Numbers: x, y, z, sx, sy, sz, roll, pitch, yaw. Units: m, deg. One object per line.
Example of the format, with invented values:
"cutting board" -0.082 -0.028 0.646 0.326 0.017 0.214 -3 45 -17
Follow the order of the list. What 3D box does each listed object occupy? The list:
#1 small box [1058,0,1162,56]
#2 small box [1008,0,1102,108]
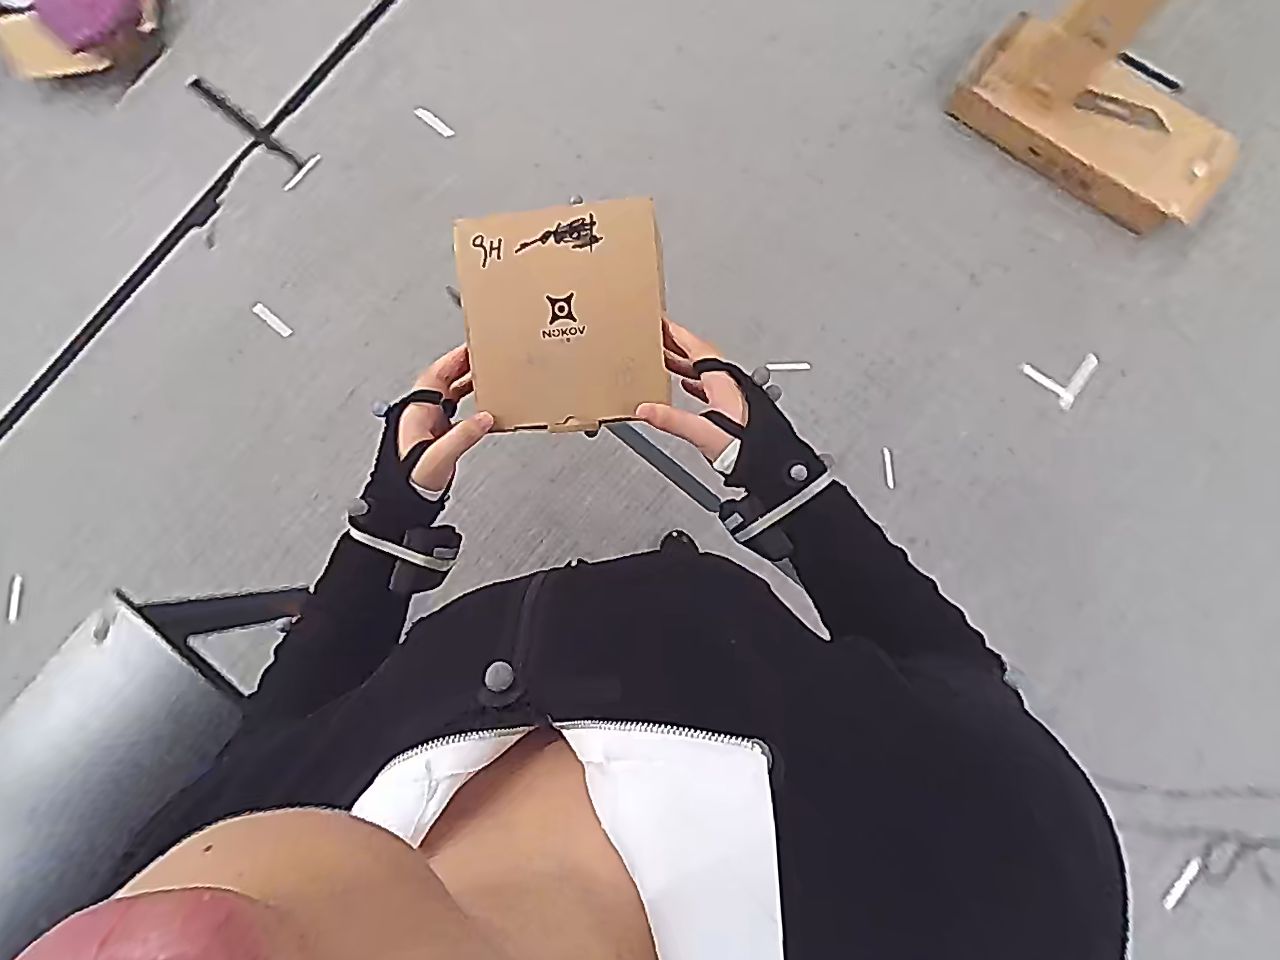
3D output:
"small box" 1.150 -1.171 1.275 0.168 0.176 0.179 39 86 6
"small box" 1.136 -1.156 1.440 0.168 0.176 0.179 37 86 6
